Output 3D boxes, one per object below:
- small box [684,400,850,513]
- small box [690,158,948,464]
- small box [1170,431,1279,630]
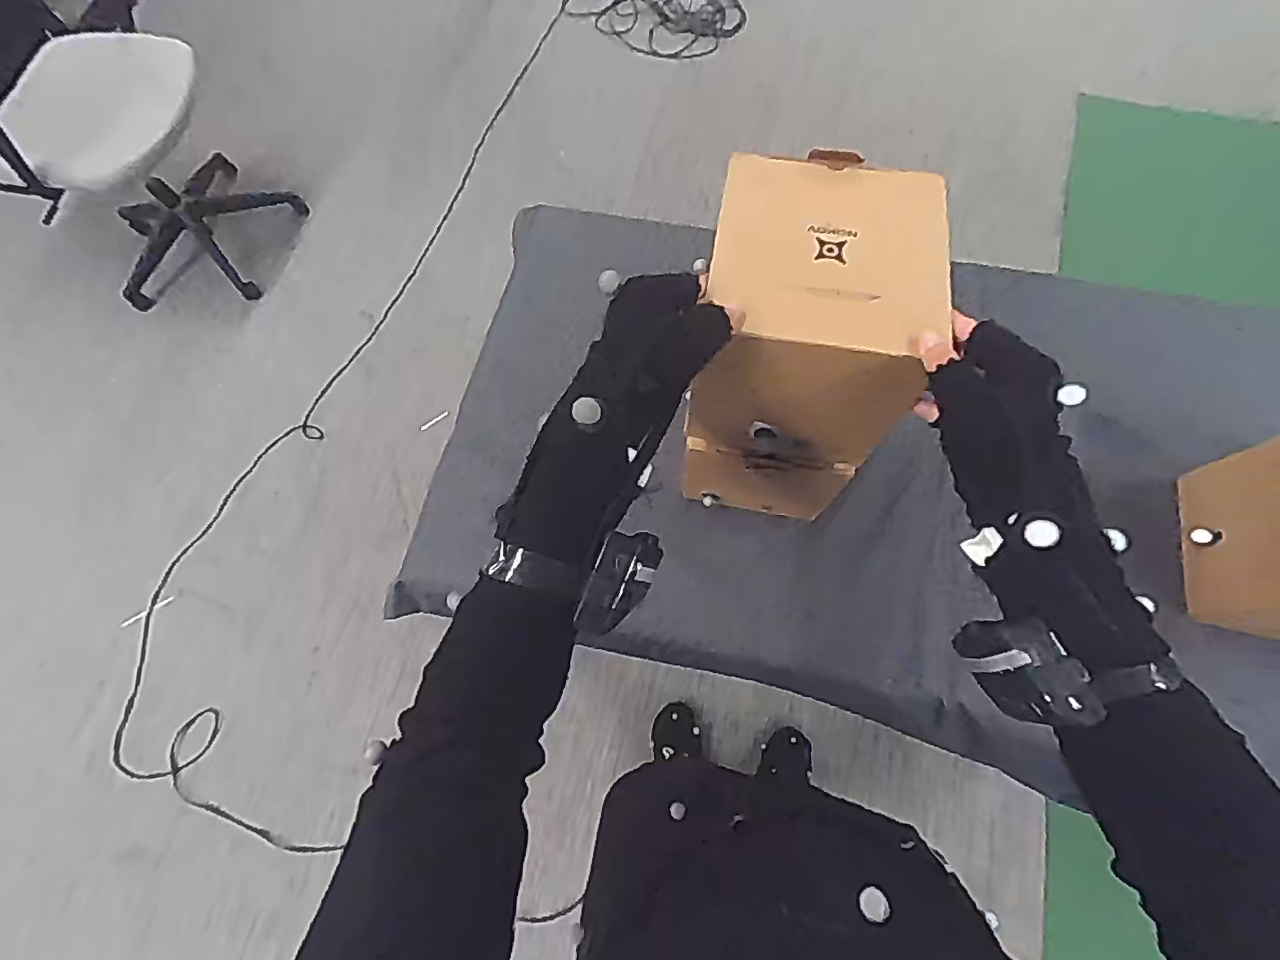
[{"bbox_3d":[0.147,-0.073,0.634,0.168,0.176,0.179,10,70,6],"label":"small box"},{"bbox_3d":[0.138,-0.134,0.467,0.168,0.176,0.179,9,69,5],"label":"small box"},{"bbox_3d":[0.703,0.063,0.553,0.168,0.176,0.179,12,72,8],"label":"small box"}]
